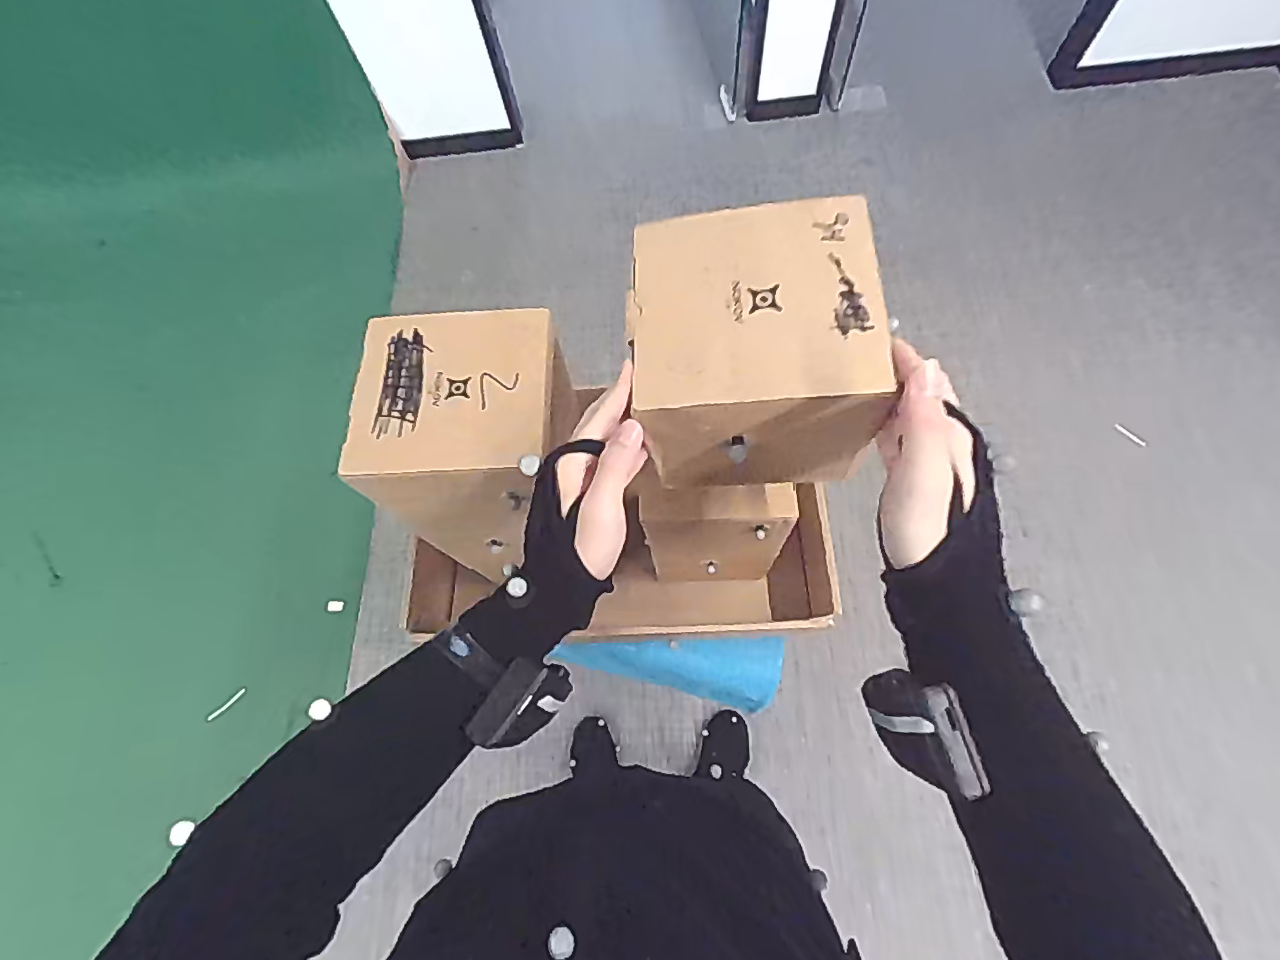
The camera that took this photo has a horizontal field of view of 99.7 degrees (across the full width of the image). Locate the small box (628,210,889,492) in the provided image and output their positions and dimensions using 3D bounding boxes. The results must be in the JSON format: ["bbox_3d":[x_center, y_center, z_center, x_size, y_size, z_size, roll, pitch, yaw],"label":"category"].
[{"bbox_3d":[0.095,-0.093,0.465,0.179,0.176,0.168,-3,68,10],"label":"small box"}]

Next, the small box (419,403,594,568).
[{"bbox_3d":[-0.160,0.015,0.707,0.179,0.176,0.168,-3,68,2],"label":"small box"}]

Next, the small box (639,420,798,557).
[{"bbox_3d":[0.094,0.001,0.695,0.179,0.176,0.168,-2,68,5],"label":"small box"}]
